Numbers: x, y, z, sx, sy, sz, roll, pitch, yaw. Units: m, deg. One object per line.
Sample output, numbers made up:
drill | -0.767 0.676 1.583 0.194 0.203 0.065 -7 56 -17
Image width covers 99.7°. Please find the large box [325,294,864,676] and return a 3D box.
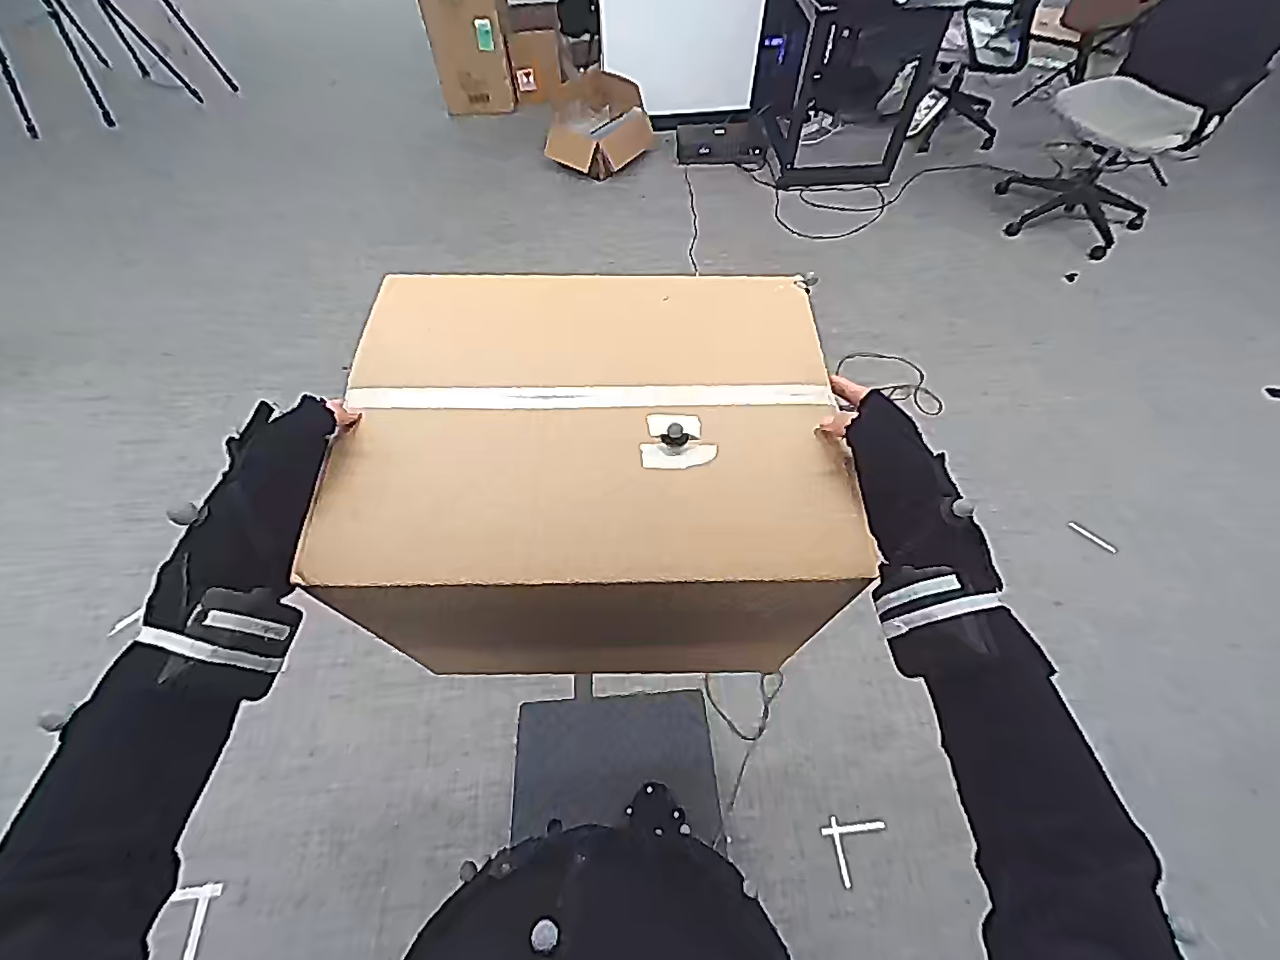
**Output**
large box | -0.039 0.019 0.596 0.408 0.320 0.320 0 59 -2

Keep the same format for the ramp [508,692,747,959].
ramp | -0.030 0.957 1.119 0.509 0.206 0.991 -6 57 -2
